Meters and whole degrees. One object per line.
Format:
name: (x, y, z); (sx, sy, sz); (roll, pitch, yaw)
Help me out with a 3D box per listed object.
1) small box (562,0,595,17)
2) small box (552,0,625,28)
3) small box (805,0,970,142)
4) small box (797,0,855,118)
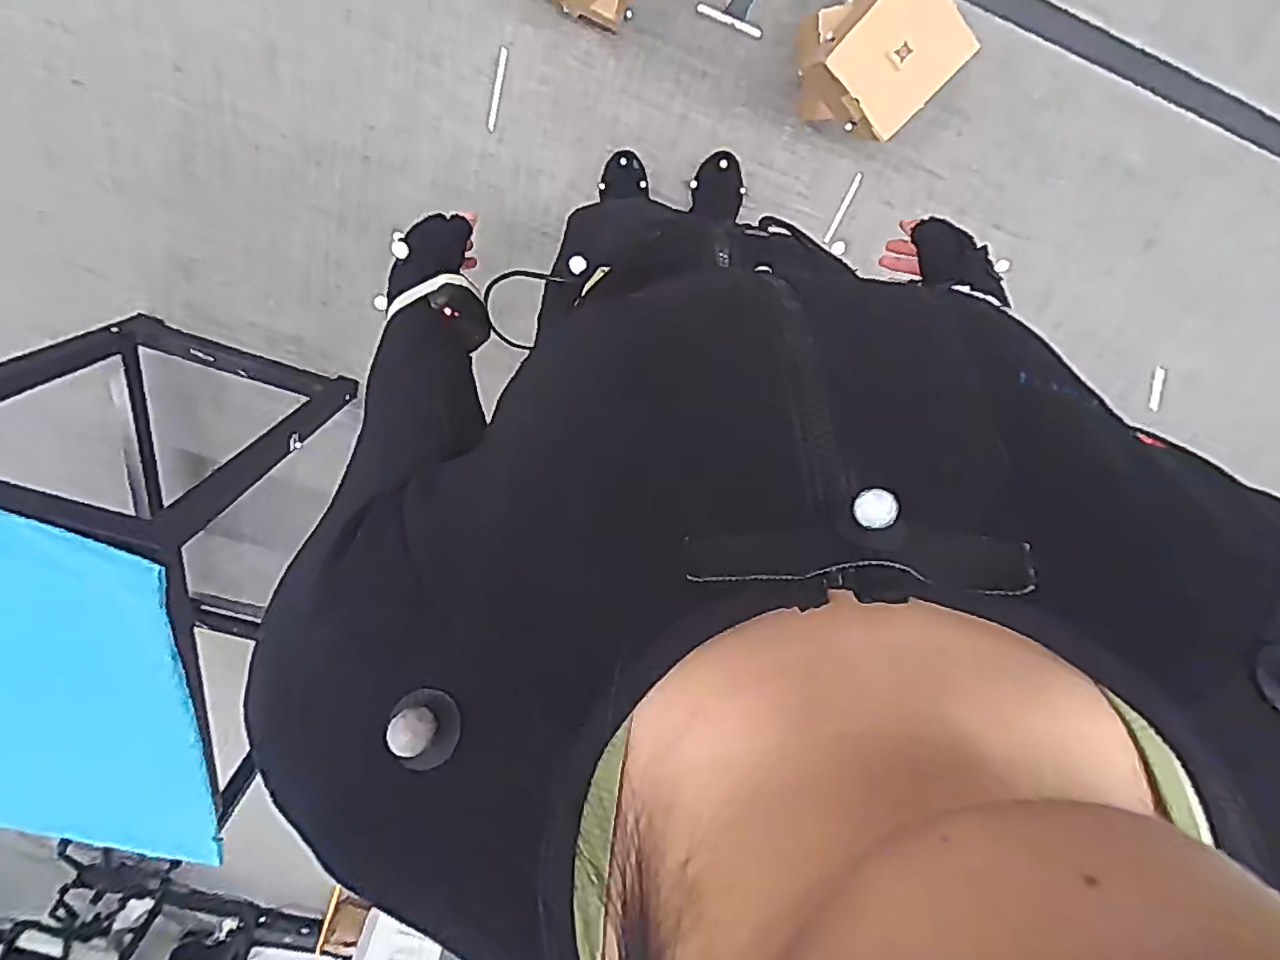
small box: (-0.100, -0.868, 0.822); (0.168, 0.176, 0.179); (-28, 117, 19)
small box: (-0.098, -0.950, 0.968); (0.179, 0.176, 0.168); (20, 121, -10)
small box: (0.400, -0.709, 0.912); (0.168, 0.176, 0.179); (38, 117, -23)
small box: (0.404, -0.810, 1.041); (0.179, 0.176, 0.168); (-7, 124, 7)
